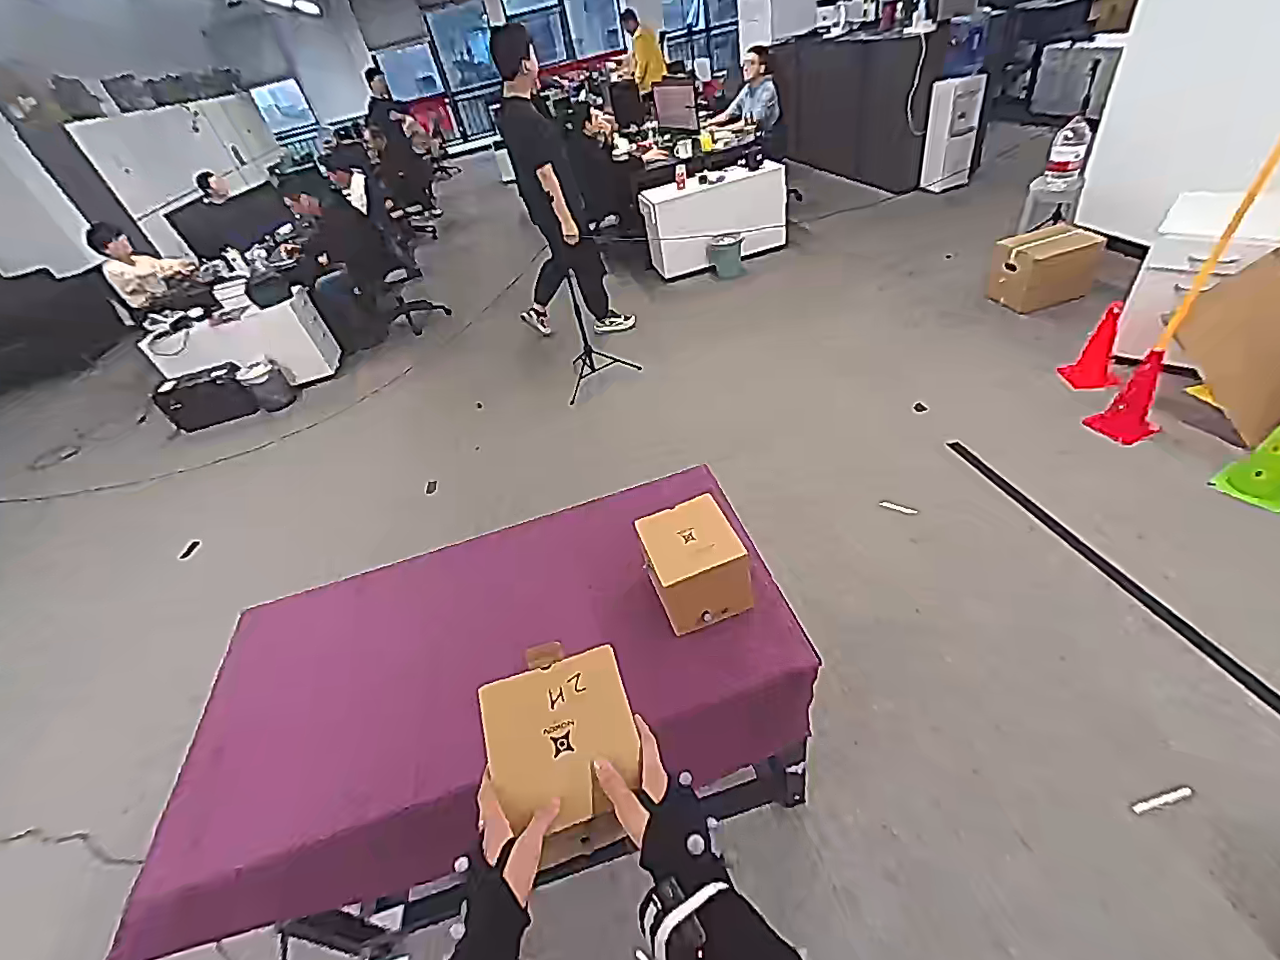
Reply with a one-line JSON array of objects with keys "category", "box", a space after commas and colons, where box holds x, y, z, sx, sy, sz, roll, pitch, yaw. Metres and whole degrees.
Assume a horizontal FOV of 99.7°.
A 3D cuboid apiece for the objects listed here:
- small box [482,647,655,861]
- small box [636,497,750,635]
[{"category": "small box", "box": [-0.084, 0.342, 0.666, 0.168, 0.176, 0.179, -15, 49, -10]}, {"category": "small box", "box": [0.104, 0.170, 1.069, 0.168, 0.176, 0.179, -20, 40, -6]}]
